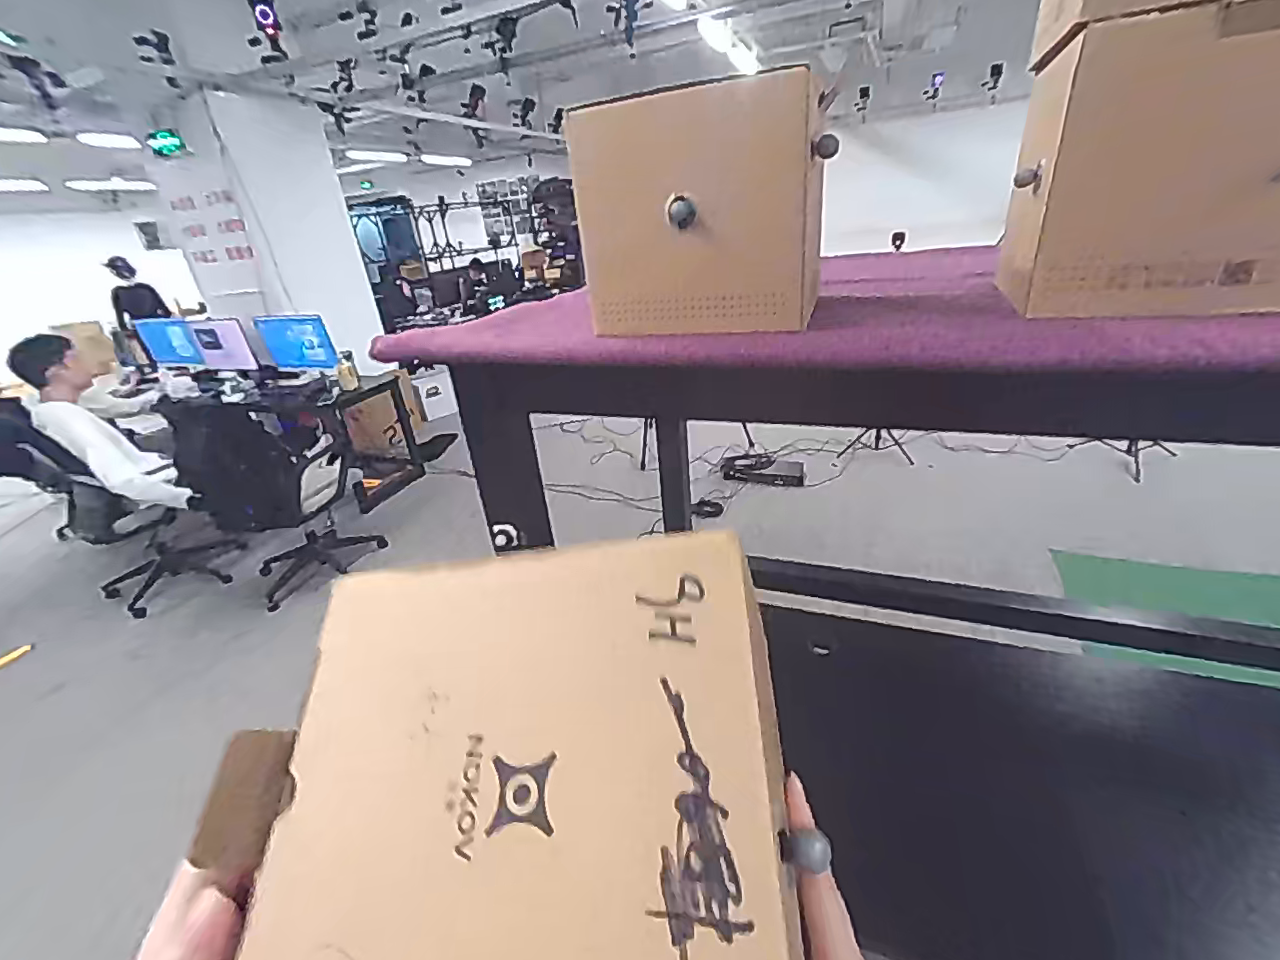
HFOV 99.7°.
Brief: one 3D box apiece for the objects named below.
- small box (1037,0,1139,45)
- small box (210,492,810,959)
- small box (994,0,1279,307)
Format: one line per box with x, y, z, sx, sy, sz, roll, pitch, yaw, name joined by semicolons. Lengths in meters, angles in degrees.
0.350;-0.365;0.304;0.179;0.176;0.168;7;30;23;small box
-0.025;0.123;0.238;0.179;0.176;0.168;-8;61;12;small box
0.365;-0.217;0.375;0.168;0.176;0.179;7;28;23;small box
